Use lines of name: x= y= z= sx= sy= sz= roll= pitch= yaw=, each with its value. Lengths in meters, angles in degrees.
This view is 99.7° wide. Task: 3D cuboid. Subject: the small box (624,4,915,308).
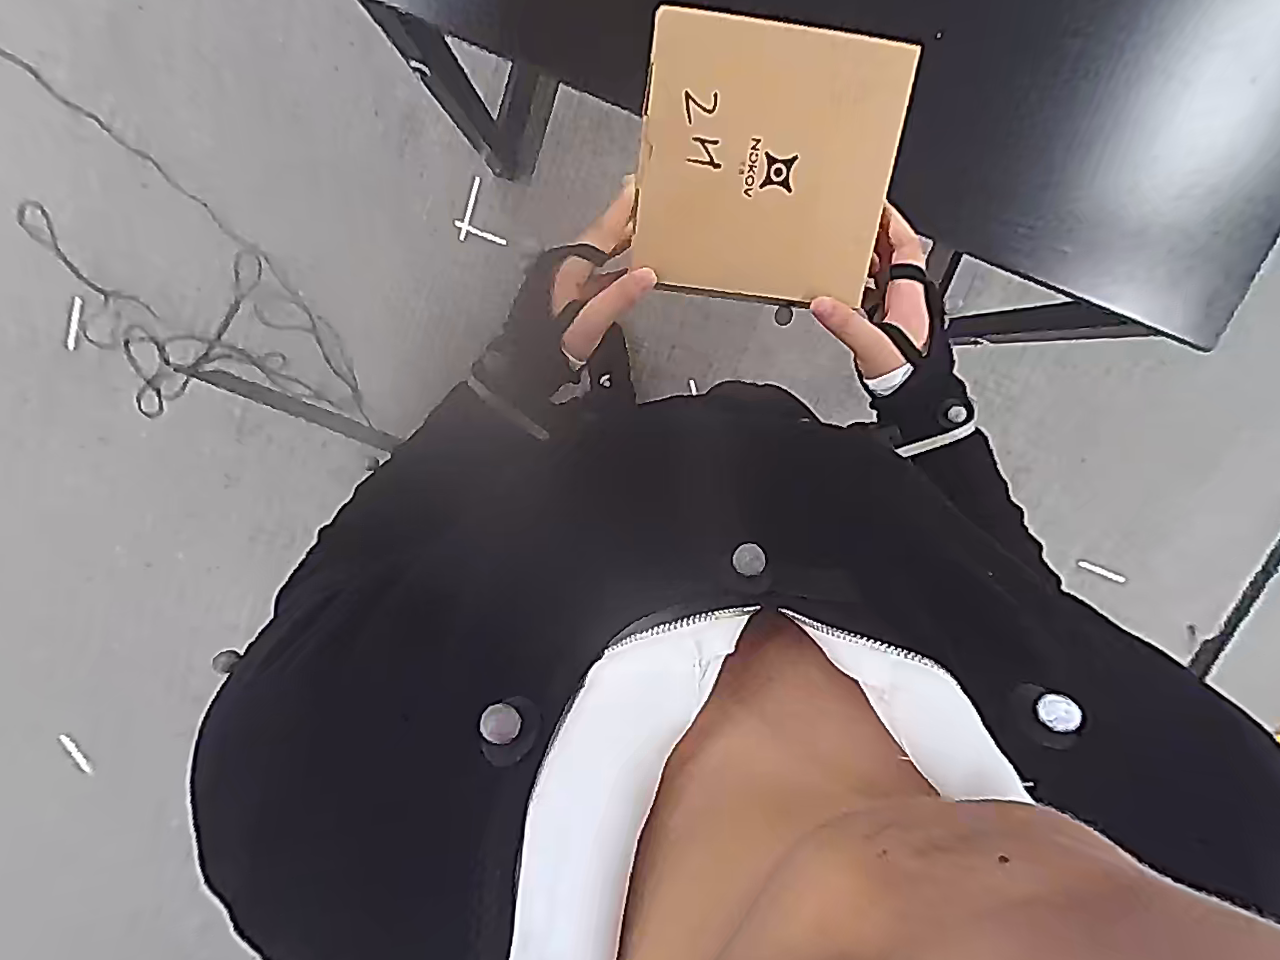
small box: x=0.083 y=-0.241 z=0.449 sx=0.179 sy=0.176 sz=0.168 roll=7 pitch=107 yaw=-3
